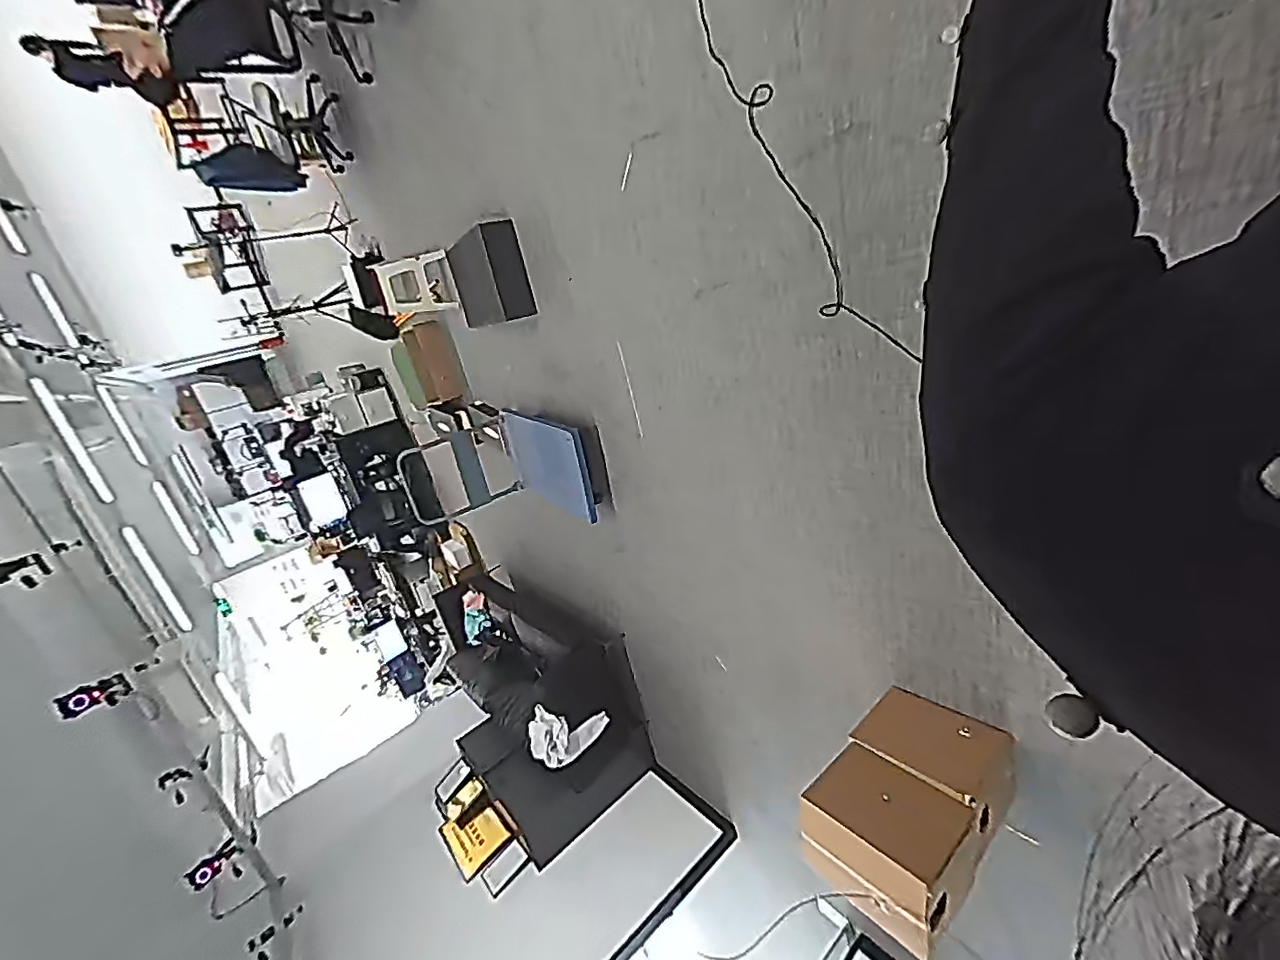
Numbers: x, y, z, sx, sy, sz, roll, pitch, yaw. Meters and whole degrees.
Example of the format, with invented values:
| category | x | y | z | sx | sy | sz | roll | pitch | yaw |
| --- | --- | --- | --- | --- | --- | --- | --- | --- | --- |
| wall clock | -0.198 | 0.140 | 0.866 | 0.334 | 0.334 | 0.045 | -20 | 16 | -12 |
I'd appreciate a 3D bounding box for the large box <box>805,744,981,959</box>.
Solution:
| category | x | y | z | sx | sy | sz | roll | pitch | yaw |
| --- | --- | --- | --- | --- | --- | --- | --- | --- | --- |
| large box | 0.779 | 1.122 | 1.685 | 0.408 | 0.320 | 0.320 | 13 | 118 | 50 |
